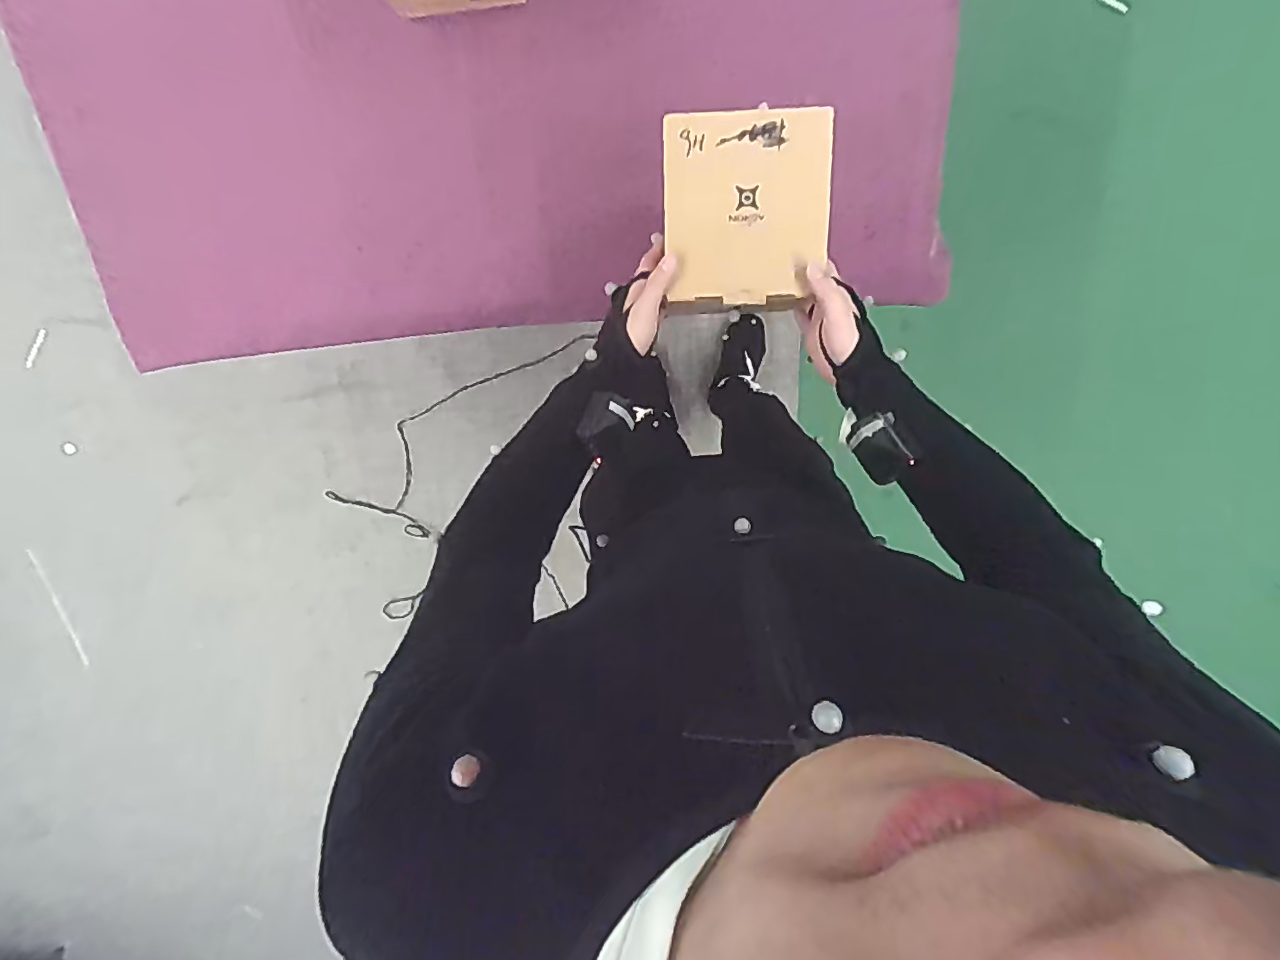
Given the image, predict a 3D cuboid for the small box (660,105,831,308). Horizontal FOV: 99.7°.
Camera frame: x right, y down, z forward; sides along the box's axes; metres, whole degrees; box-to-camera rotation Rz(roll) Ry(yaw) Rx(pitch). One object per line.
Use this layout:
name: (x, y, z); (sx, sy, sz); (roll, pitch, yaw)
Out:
small box: (0.108, -0.292, 0.616); (0.168, 0.176, 0.179); (0, 103, 4)
